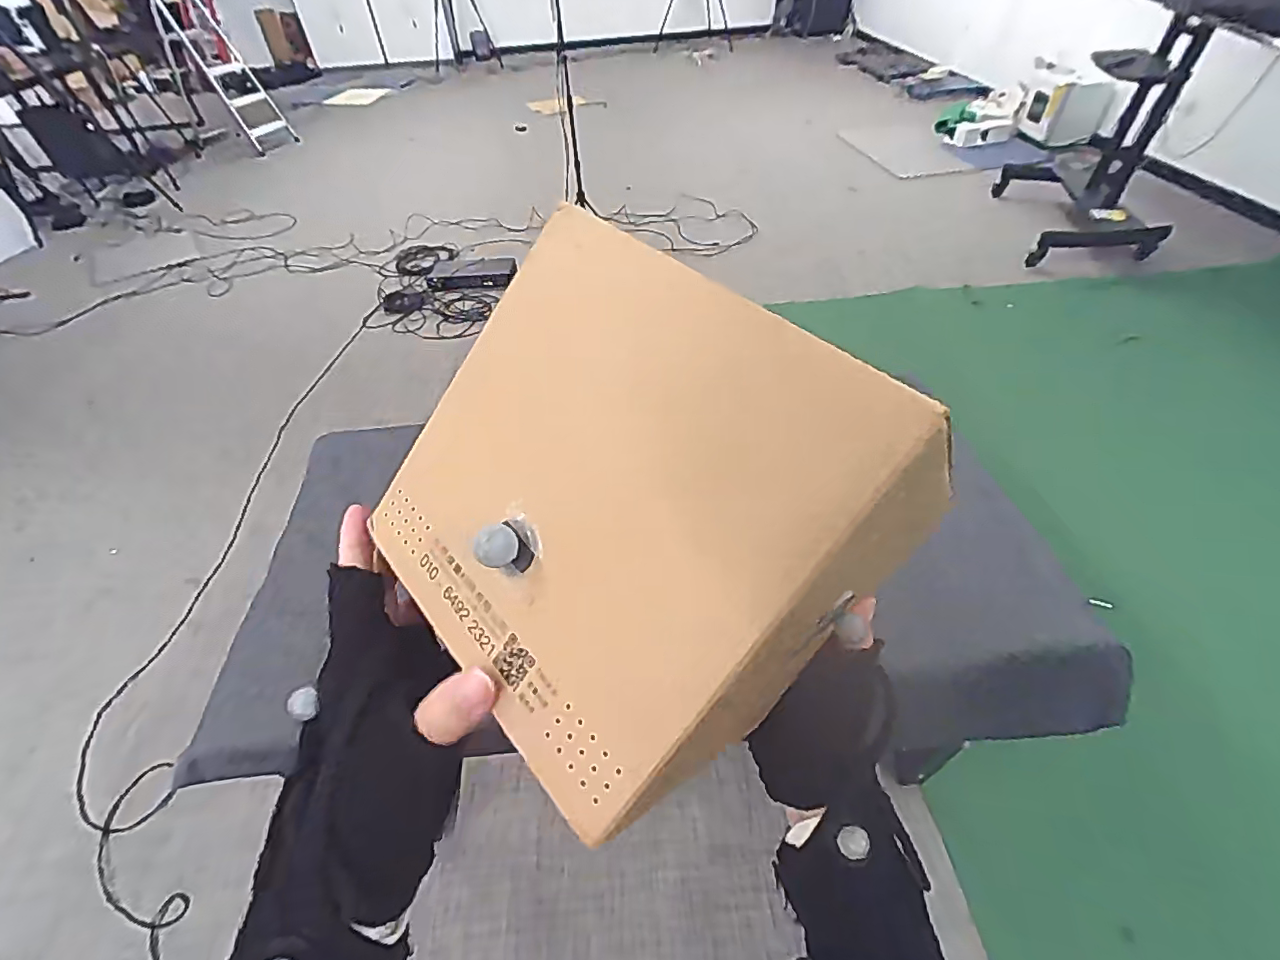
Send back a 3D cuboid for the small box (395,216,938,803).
[{"bbox_3d":[0.018,0.014,0.273,0.168,0.179,0.176,41,103,29],"label":"small box"}]
